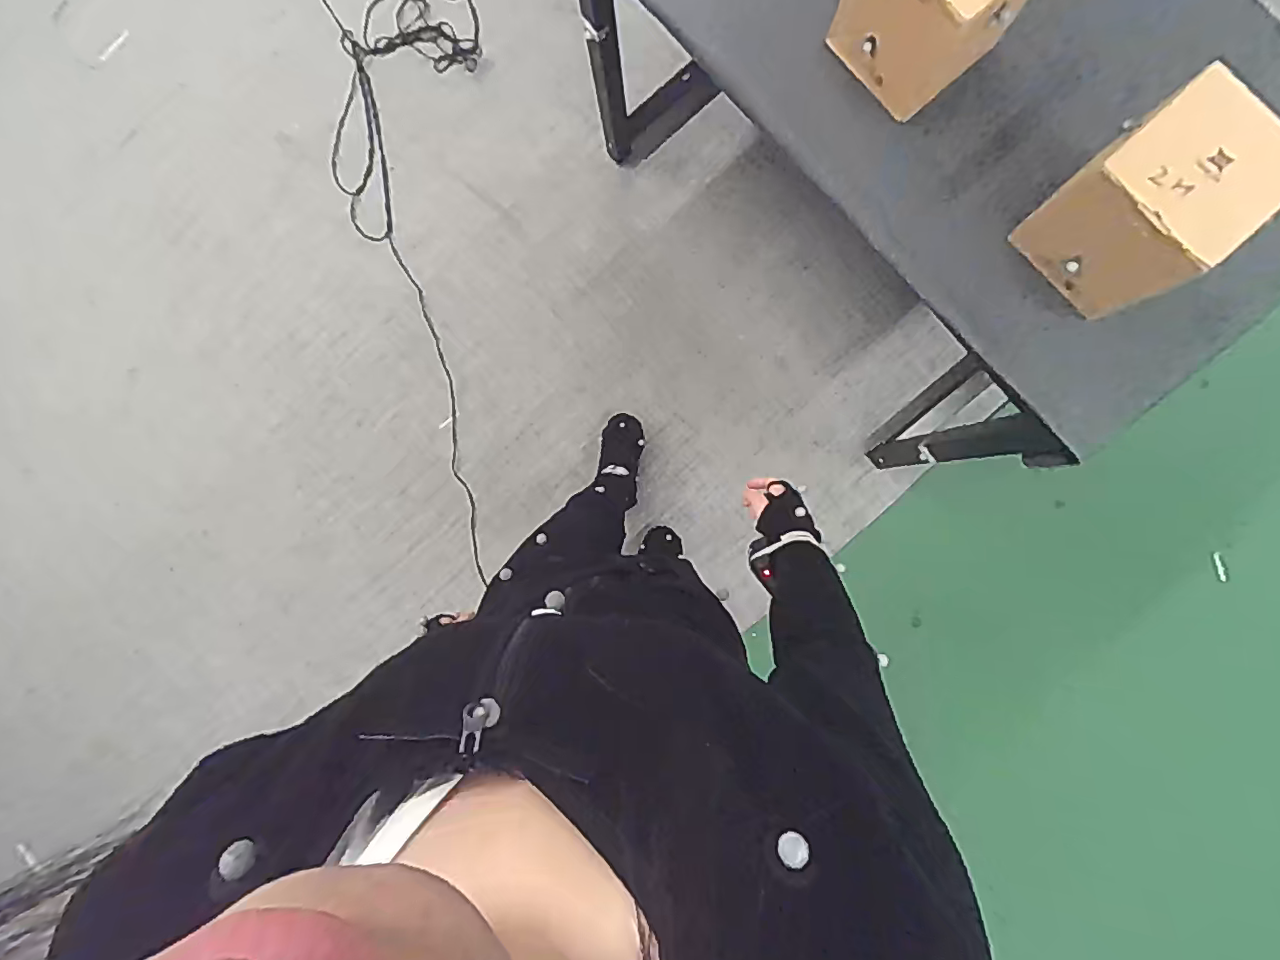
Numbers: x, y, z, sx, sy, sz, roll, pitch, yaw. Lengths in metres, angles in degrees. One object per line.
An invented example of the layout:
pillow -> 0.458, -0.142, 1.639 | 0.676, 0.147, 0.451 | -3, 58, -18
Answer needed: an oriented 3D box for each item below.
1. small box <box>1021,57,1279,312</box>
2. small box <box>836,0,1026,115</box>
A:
small box -> 0.632, -0.344, 0.665 | 0.179, 0.176, 0.168 | -42, 86, 1
small box -> 0.385, -0.629, 0.689 | 0.179, 0.176, 0.168 | -41, 87, 2
